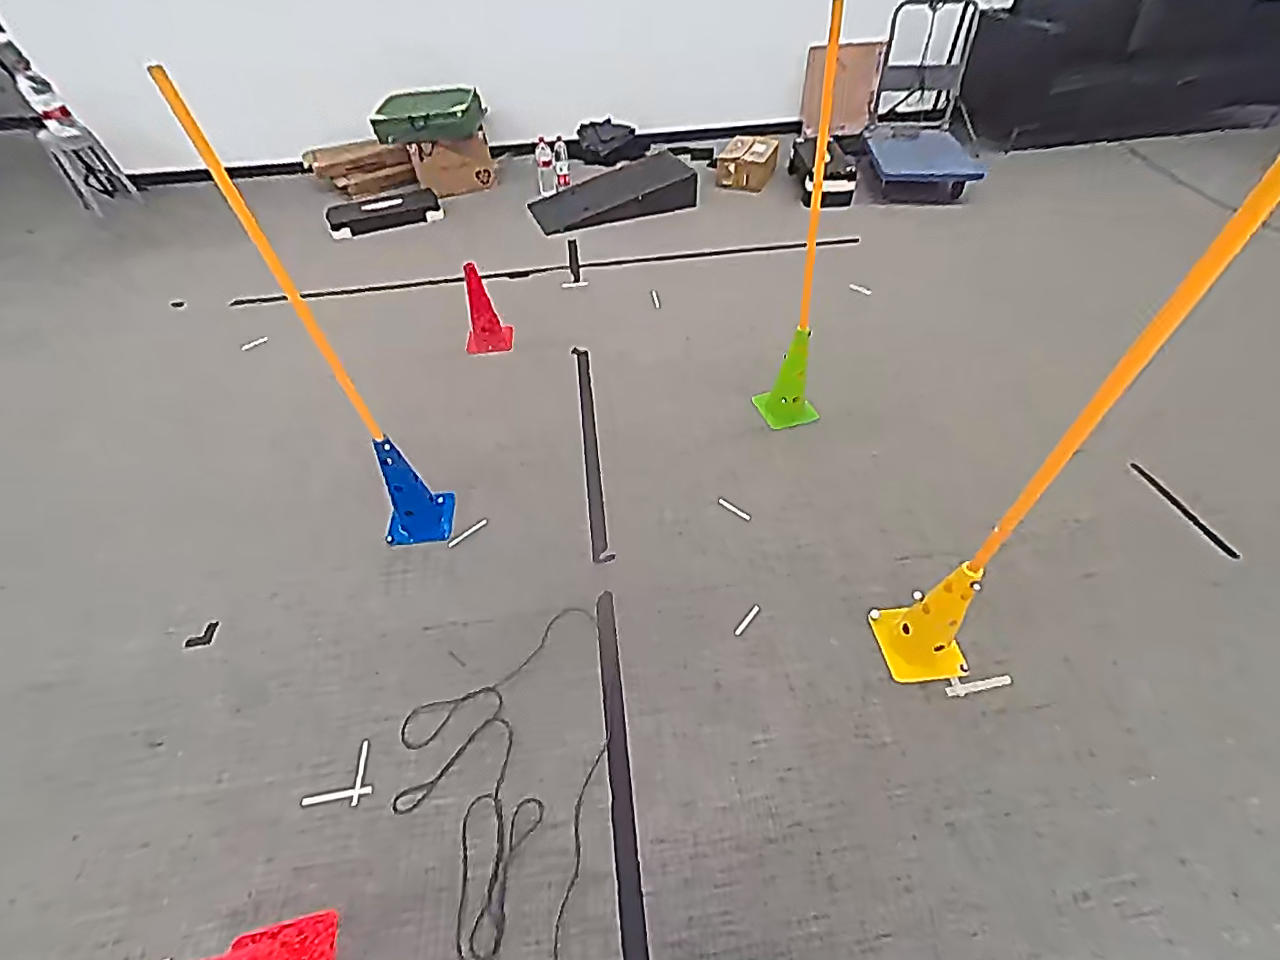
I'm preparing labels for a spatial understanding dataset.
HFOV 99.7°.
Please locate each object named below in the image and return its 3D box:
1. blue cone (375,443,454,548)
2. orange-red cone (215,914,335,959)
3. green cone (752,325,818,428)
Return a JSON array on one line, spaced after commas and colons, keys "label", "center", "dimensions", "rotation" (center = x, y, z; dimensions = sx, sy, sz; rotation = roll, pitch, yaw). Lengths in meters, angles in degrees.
[{"label": "blue cone", "center": [-0.712, 0.026, 1.641], "dimensions": [0.193, 0.380, 0.192], "rotation": [-5, 48, -2]}, {"label": "orange-red cone", "center": [-0.682, 0.831, 0.877], "dimensions": [0.199, 0.360, 0.198], "rotation": [-10, 48, -8]}, {"label": "green cone", "center": [0.550, -0.393, 1.948], "dimensions": [0.200, 0.368, 0.202], "rotation": [-15, 50, -11]}]
